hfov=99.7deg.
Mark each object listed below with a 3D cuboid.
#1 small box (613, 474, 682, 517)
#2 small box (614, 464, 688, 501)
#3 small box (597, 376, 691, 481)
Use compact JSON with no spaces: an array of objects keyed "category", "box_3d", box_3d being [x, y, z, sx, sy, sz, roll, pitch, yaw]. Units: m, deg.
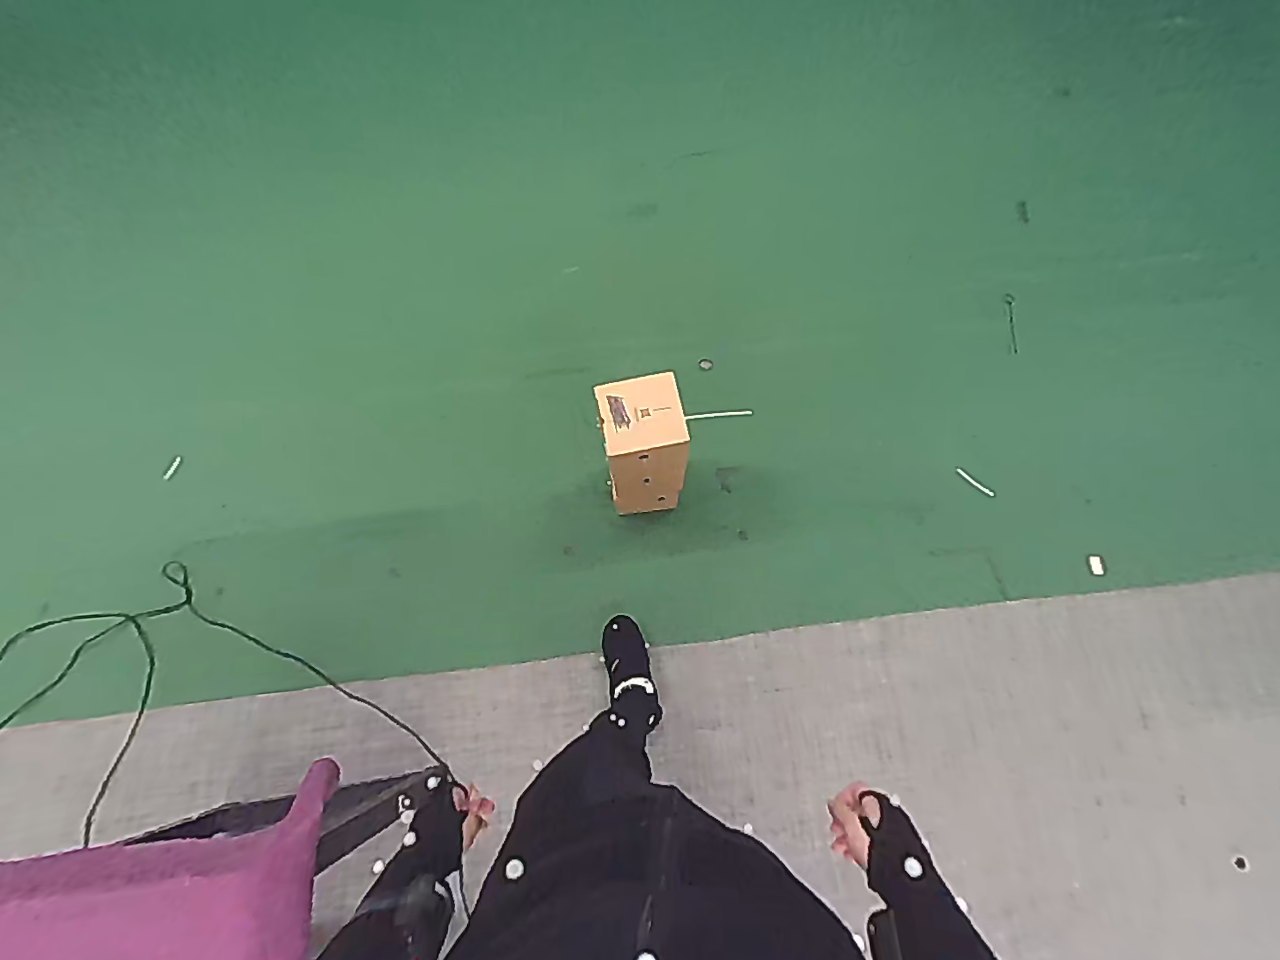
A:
[{"category":"small box","box_3d":[0.017,-0.002,1.516,0.179,0.176,0.168,-7,72,0]},{"category":"small box","box_3d":[0.019,-0.056,1.363,0.179,0.176,0.168,-10,72,0]},{"category":"small box","box_3d":[0.010,-0.108,1.207,0.179,0.176,0.168,-11,72,-2]}]
